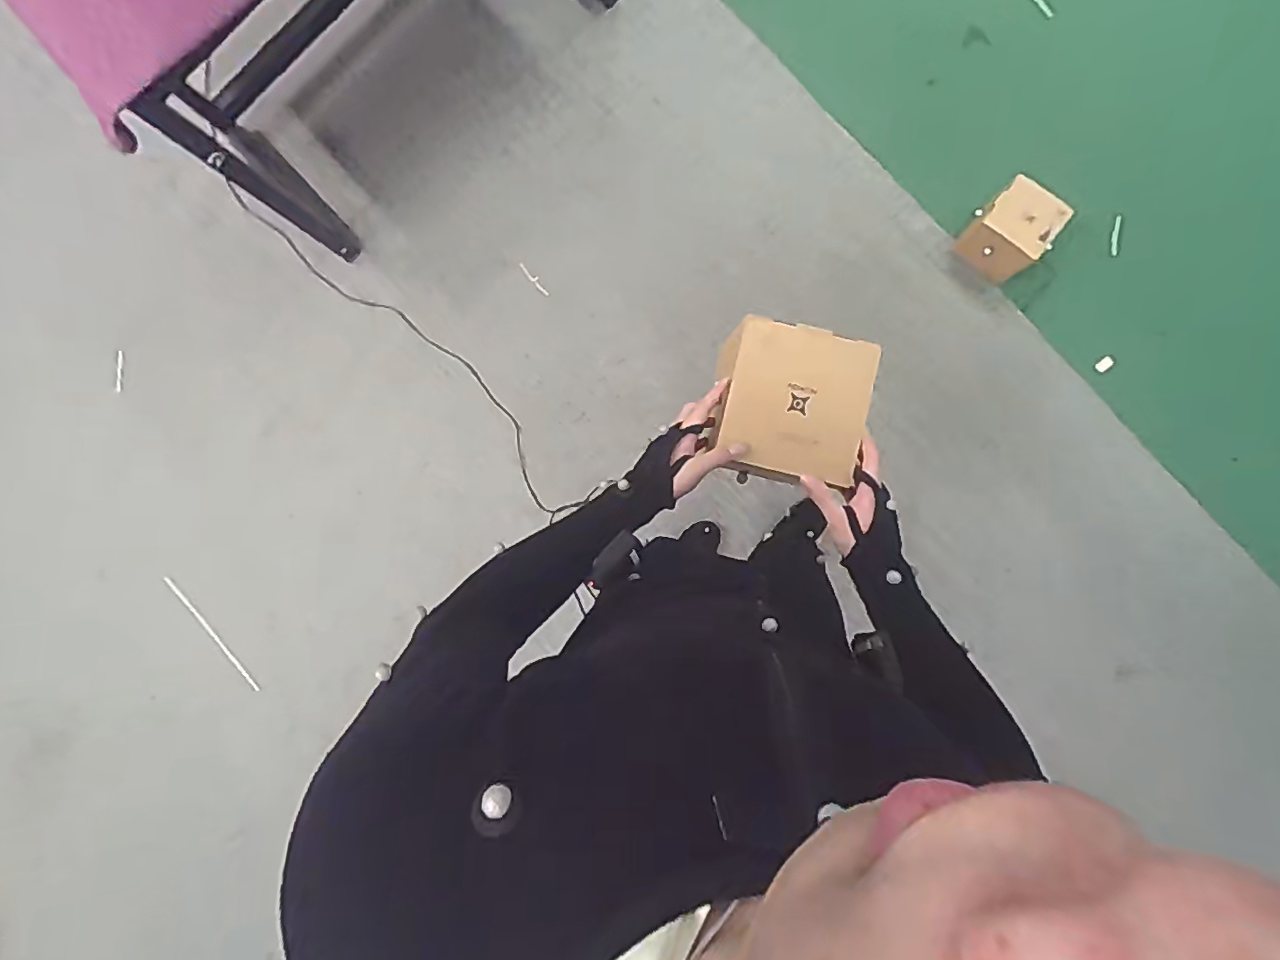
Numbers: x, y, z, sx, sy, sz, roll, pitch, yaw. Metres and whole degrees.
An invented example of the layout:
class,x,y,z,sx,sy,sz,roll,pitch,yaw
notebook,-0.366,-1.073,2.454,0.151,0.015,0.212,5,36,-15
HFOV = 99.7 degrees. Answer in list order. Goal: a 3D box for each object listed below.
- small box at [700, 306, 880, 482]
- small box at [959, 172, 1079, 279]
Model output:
class,x,y,z,sx,sy,sz,roll,pitch,yaw
small box,0.181,-0.100,0.705,0.168,0.176,0.179,13,89,-1
small box,1.029,-0.690,1.489,0.179,0.176,0.168,38,92,4
